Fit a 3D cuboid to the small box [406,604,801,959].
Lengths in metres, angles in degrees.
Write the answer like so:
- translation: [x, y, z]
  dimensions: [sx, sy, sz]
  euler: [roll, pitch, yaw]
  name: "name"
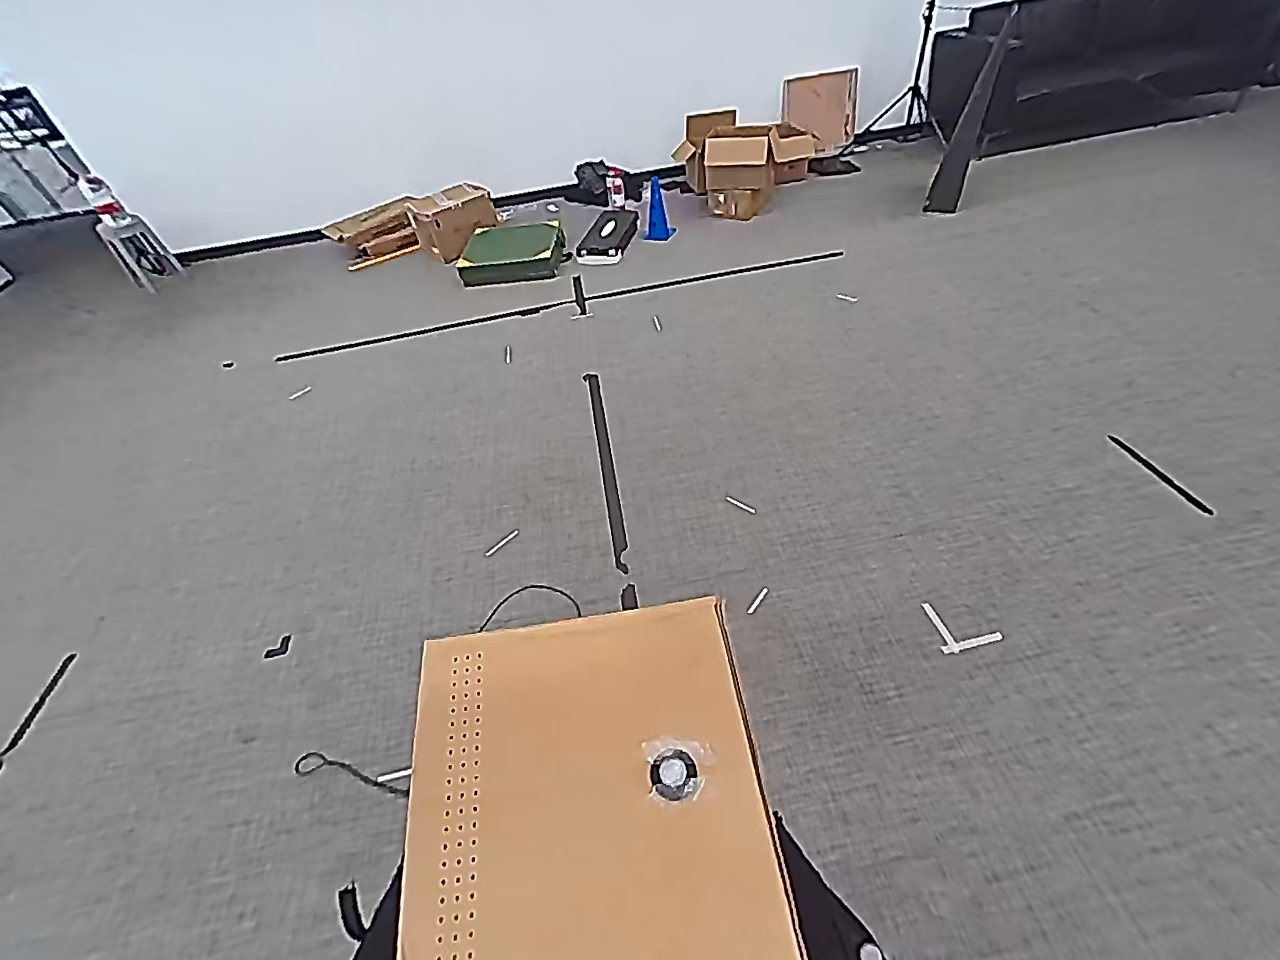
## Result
- translation: [-0.022, 0.198, 0.325]
  dimensions: [0.176, 0.168, 0.179]
  euler: [-9, 55, 0]
  name: "small box"
